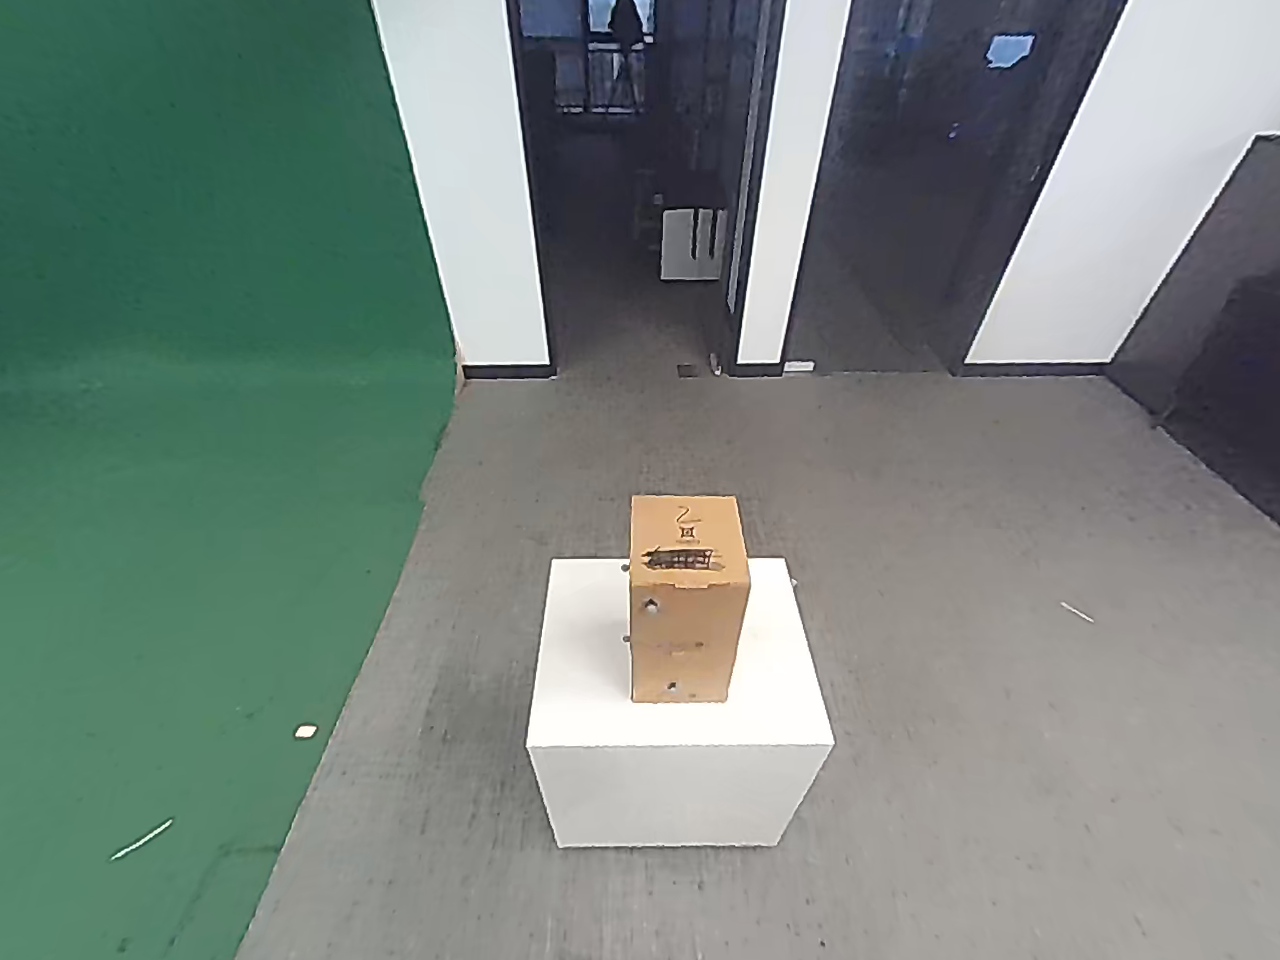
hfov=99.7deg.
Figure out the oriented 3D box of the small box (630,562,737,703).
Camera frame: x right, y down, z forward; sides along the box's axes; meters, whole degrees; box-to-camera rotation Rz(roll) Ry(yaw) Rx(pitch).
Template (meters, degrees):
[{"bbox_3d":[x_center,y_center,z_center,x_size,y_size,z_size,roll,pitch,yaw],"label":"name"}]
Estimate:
[{"bbox_3d":[0.067,0.262,0.937,0.168,0.176,0.179,0,40,-1],"label":"small box"}]
